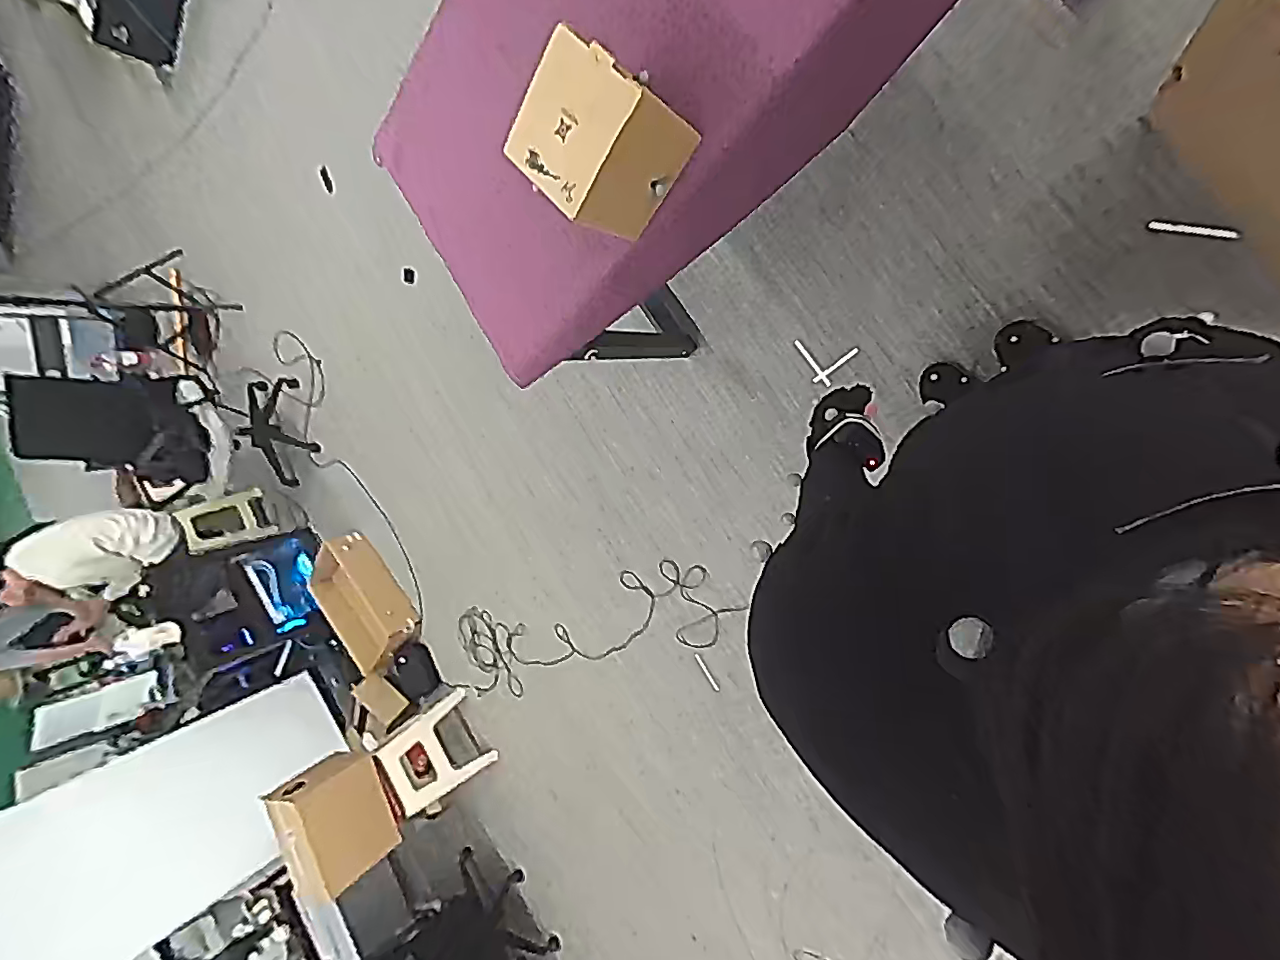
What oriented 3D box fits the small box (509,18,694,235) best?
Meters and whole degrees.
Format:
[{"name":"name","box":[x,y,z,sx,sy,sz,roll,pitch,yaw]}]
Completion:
[{"name":"small box","box":[-0.046,-0.486,0.773,0.168,0.176,0.179,49,121,15]}]
